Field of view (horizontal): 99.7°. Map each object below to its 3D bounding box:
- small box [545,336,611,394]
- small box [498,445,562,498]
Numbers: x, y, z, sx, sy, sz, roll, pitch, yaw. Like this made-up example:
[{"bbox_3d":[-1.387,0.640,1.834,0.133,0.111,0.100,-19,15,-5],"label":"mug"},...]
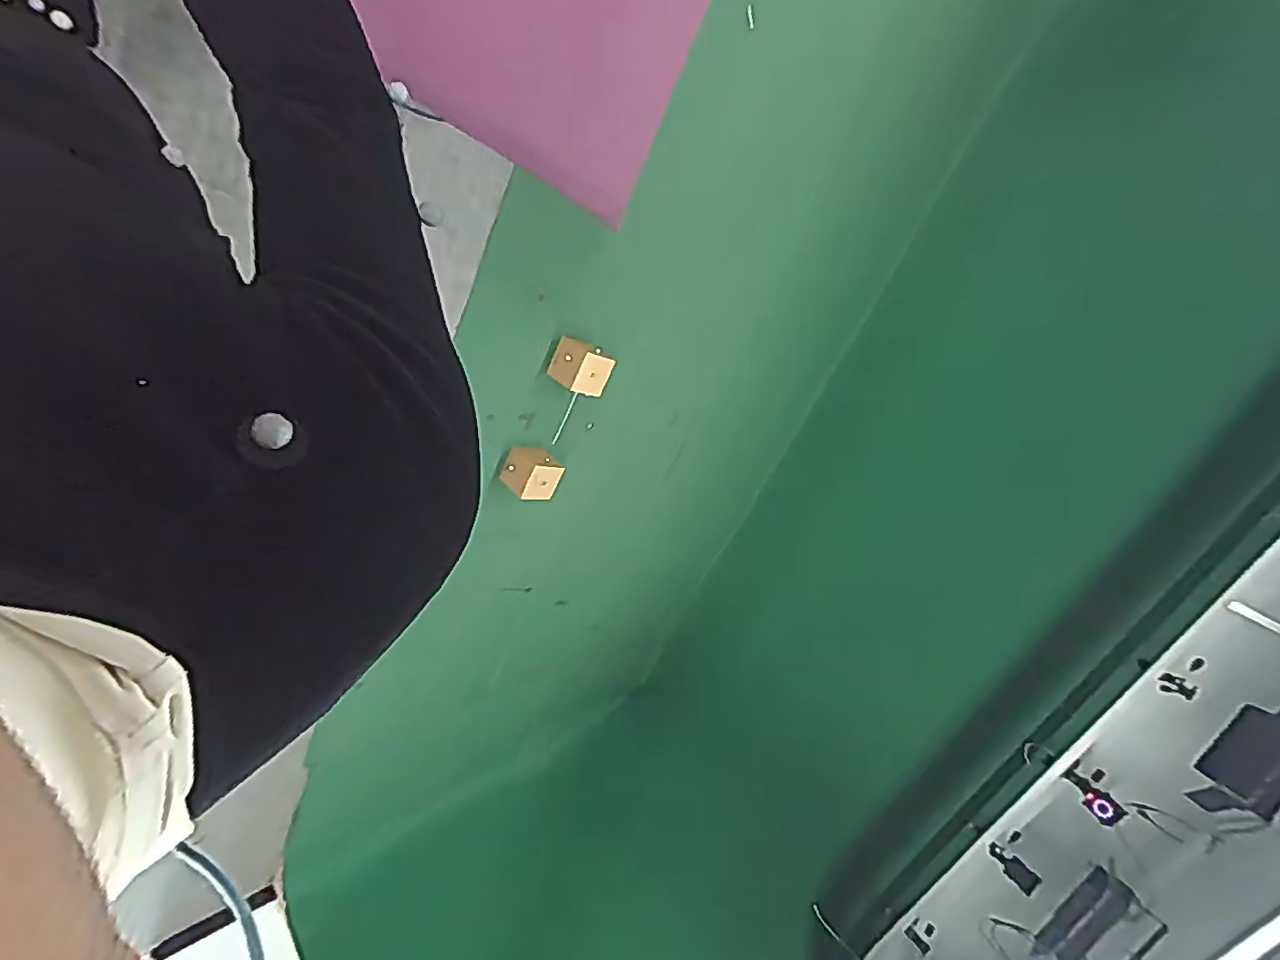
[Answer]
[{"bbox_3d":[-0.255,-0.467,2.189,0.179,0.176,0.168,1,121,-55],"label":"small box"},{"bbox_3d":[-0.475,-0.037,2.333,0.179,0.176,0.168,3,119,-54],"label":"small box"}]
